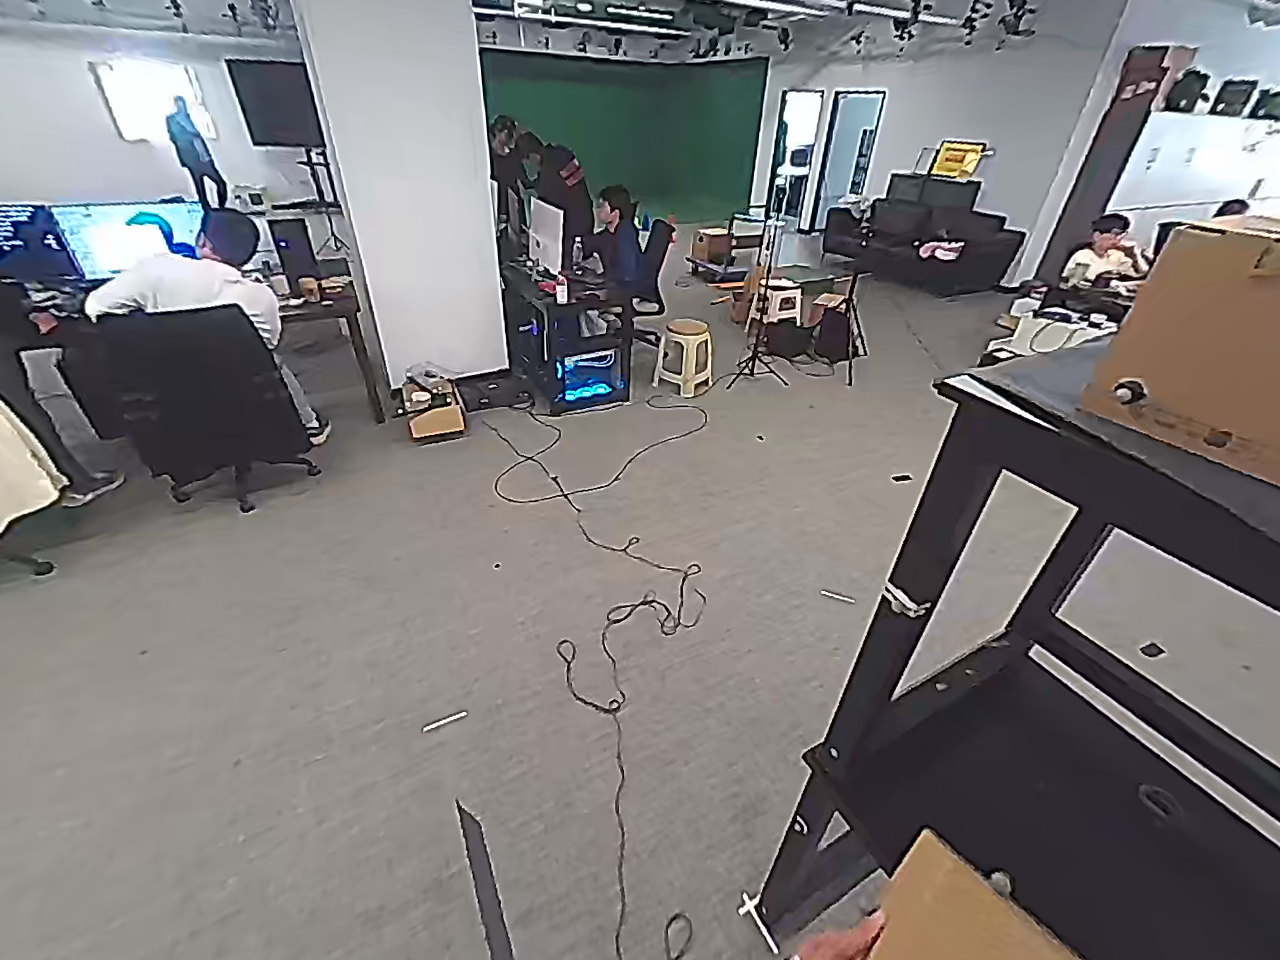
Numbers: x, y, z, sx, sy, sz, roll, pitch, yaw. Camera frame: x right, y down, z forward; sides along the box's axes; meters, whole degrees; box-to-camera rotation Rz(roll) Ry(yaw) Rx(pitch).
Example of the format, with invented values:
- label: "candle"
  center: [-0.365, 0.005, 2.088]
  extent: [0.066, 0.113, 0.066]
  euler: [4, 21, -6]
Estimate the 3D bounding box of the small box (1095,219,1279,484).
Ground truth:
- label: "small box"
  center: [0.545, -0.115, 0.461]
  extent: [0.179, 0.176, 0.168]
  euler: [-16, 39, -26]
